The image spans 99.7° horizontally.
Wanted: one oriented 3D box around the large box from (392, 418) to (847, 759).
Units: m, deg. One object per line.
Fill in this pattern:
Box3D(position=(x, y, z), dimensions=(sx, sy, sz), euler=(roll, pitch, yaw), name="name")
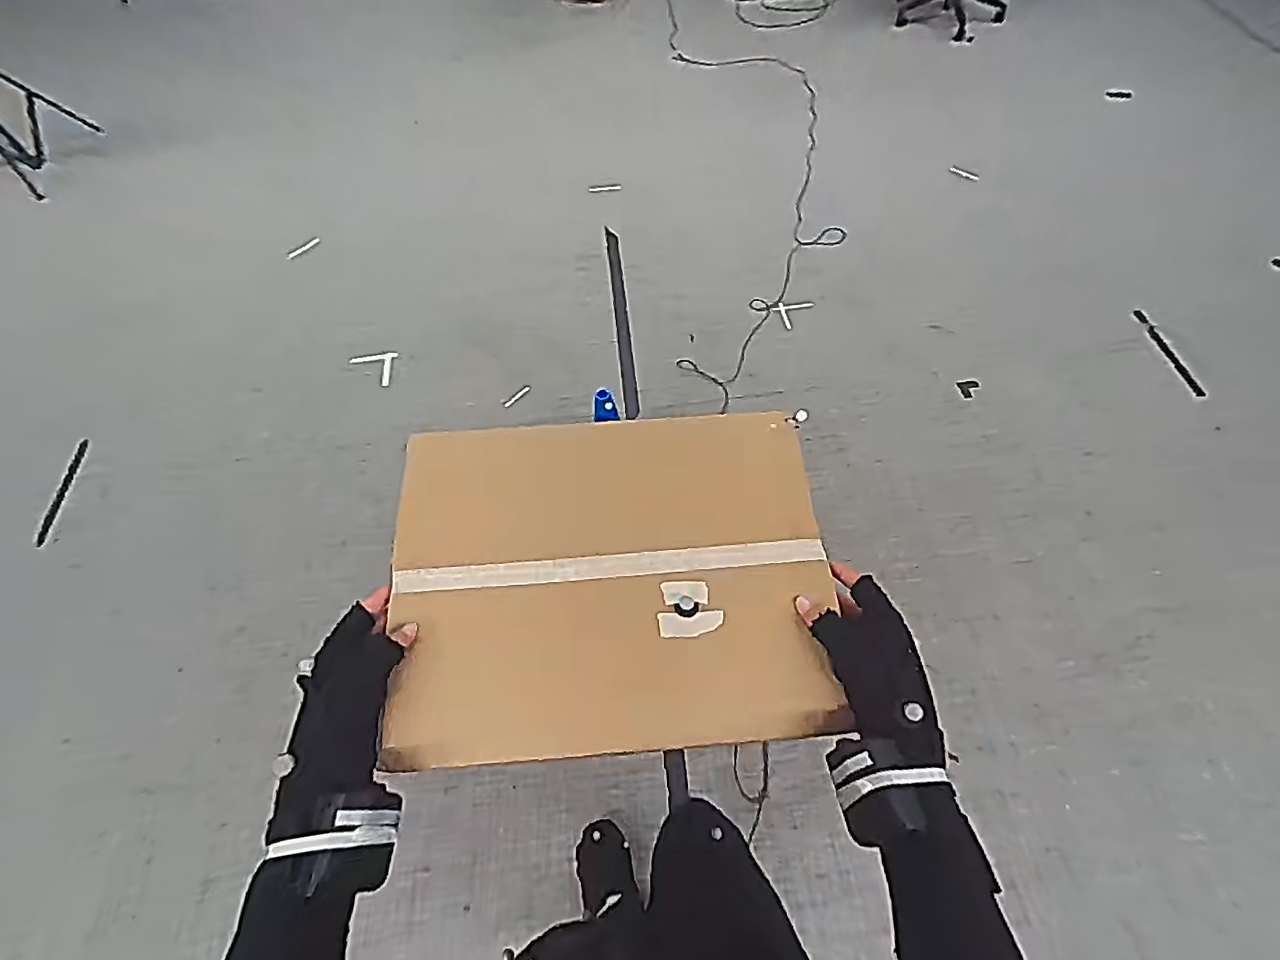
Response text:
Box3D(position=(-0.028, 0.145, 0.660), dimensions=(0.408, 0.320, 0.320), euler=(-3, 66, -2), name="large box")
